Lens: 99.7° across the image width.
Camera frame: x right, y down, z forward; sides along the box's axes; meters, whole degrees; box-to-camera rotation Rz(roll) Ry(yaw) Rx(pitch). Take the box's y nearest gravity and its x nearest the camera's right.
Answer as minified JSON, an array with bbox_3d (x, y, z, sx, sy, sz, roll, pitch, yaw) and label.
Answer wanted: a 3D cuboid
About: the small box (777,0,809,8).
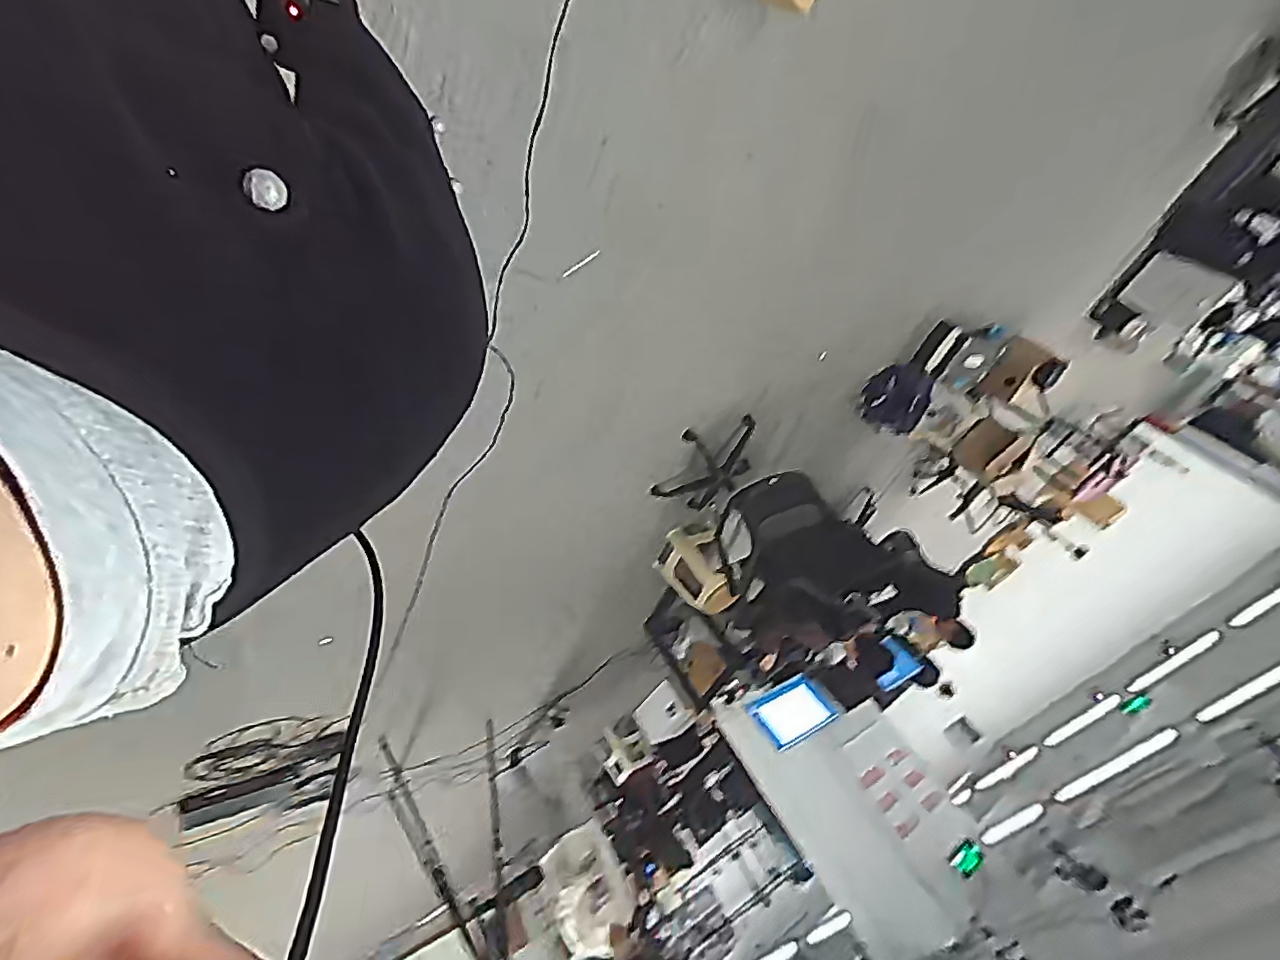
[{"bbox_3d":[0.355,-1.329,1.342,0.179,0.176,0.168,0,129,-41],"label":"small box"}]
